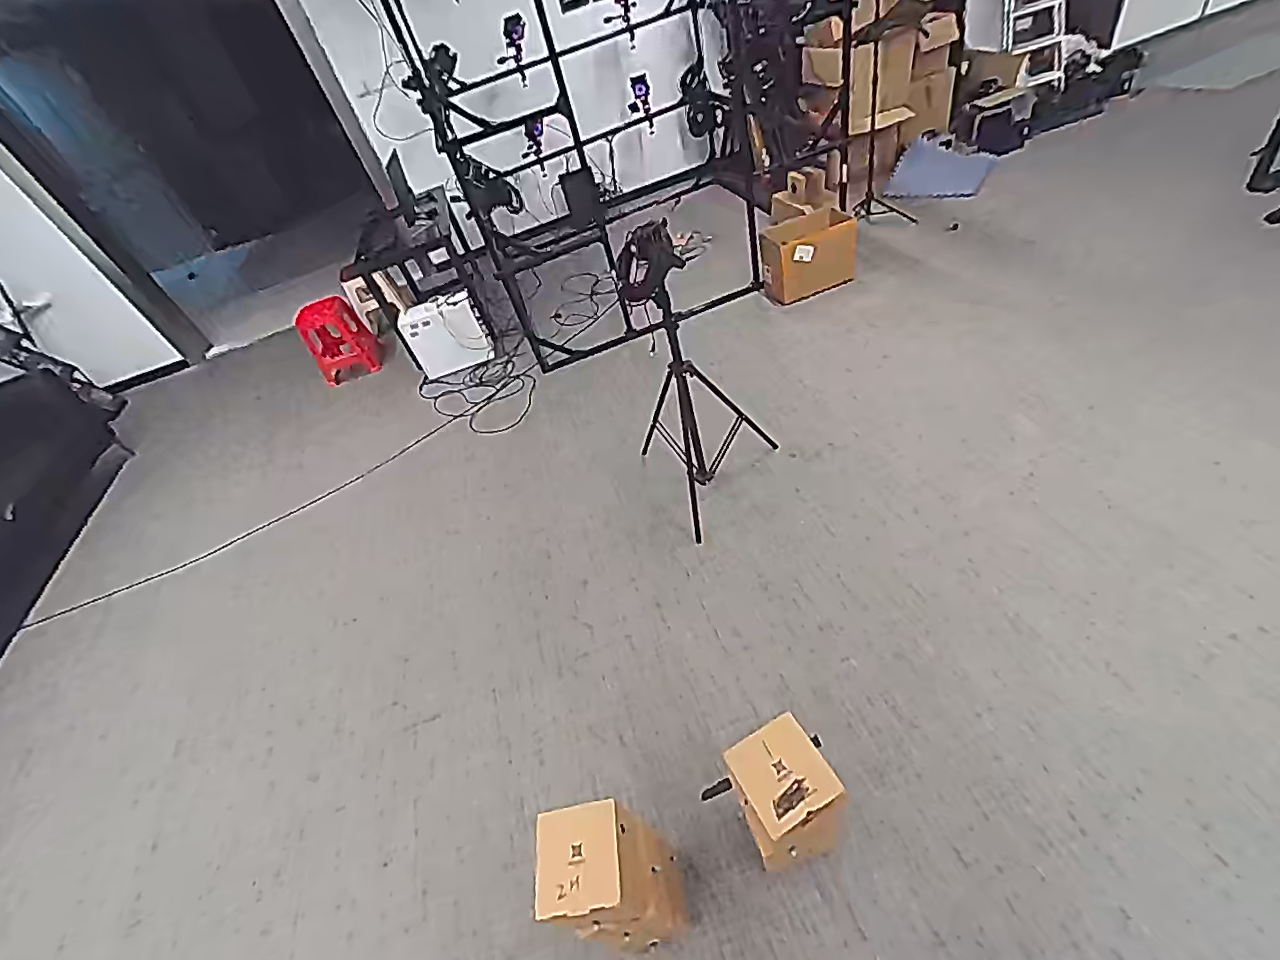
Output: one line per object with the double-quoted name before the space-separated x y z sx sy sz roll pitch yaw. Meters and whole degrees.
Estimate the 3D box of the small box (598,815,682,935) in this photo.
"small box" -0.016 0.927 1.267 0.168 0.176 0.179 -22 44 0

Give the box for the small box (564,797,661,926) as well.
"small box" -0.066 0.819 1.159 0.168 0.176 0.179 -19 44 1

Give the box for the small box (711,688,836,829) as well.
"small box" 0.263 0.555 1.065 0.168 0.176 0.179 -28 45 -10

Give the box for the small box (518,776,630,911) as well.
"small box" -0.125 0.708 1.052 0.168 0.176 0.179 -15 45 6

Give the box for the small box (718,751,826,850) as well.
"small box" 0.287 0.668 1.184 0.168 0.176 0.179 -23 43 -4
